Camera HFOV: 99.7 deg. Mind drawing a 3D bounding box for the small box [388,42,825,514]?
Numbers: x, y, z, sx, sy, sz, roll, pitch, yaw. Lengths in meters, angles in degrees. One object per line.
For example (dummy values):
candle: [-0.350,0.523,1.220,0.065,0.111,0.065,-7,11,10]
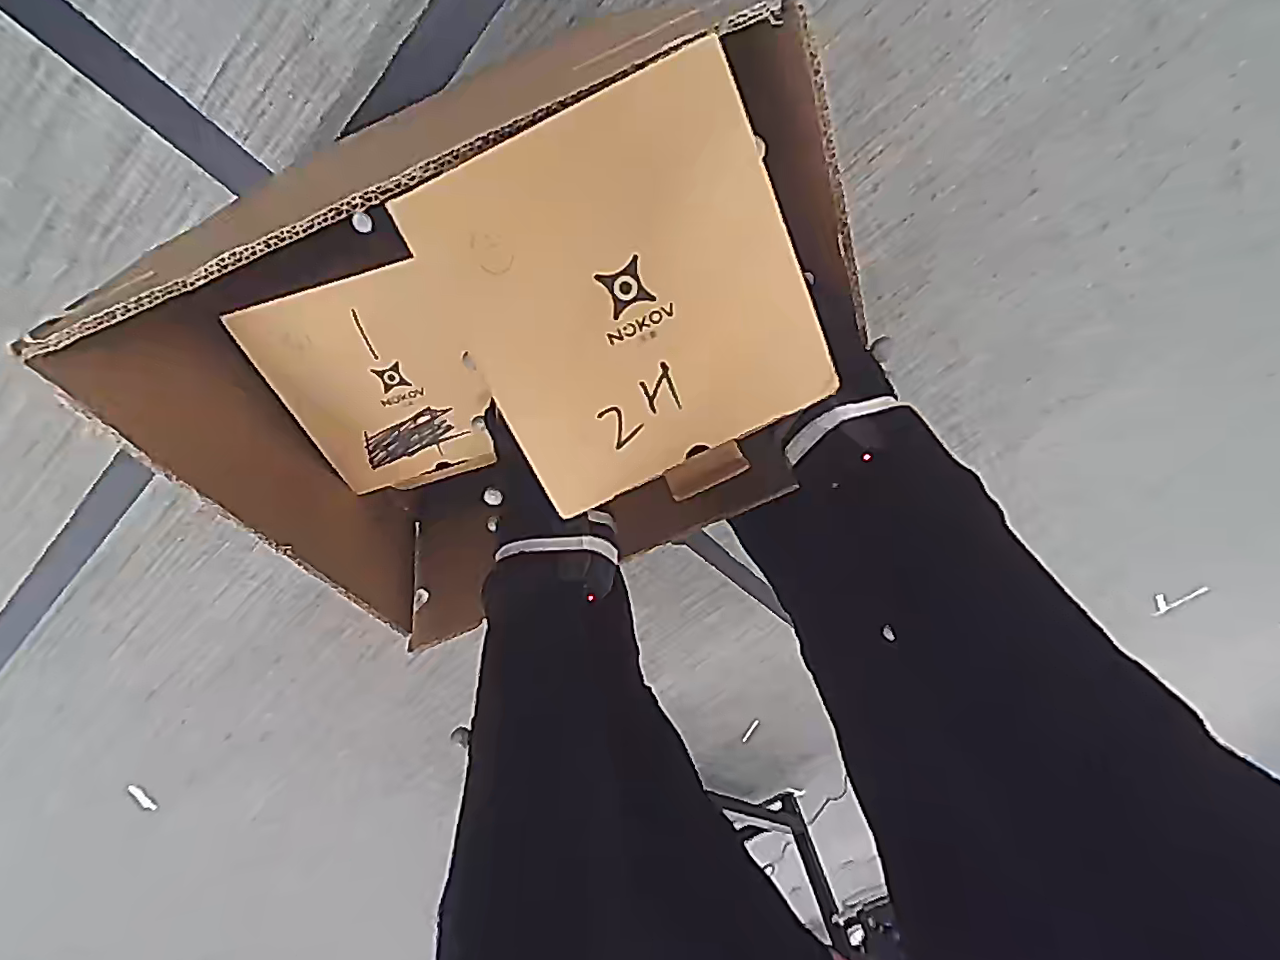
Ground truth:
small box: [-0.016,-0.111,0.343,0.168,0.176,0.179,-26,109,4]
